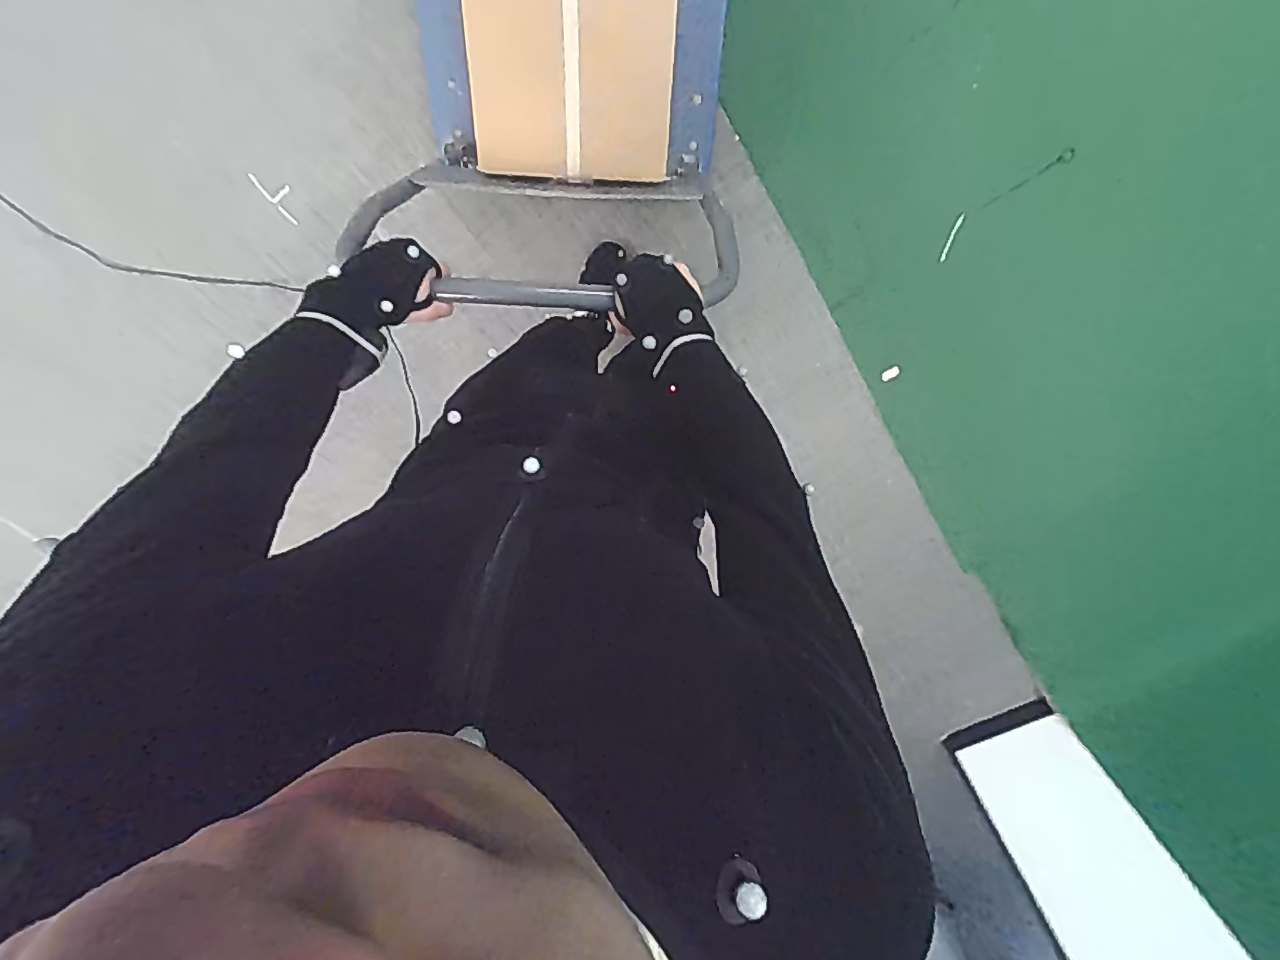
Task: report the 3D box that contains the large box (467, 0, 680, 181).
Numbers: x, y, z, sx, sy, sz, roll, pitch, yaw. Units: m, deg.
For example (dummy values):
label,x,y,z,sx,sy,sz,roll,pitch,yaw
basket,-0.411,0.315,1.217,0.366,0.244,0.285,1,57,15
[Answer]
label,x,y,z,sx,sy,sz,roll,pitch,yaw
large box,-0.099,-0.752,0.921,0.320,0.320,0.408,1,124,-3
